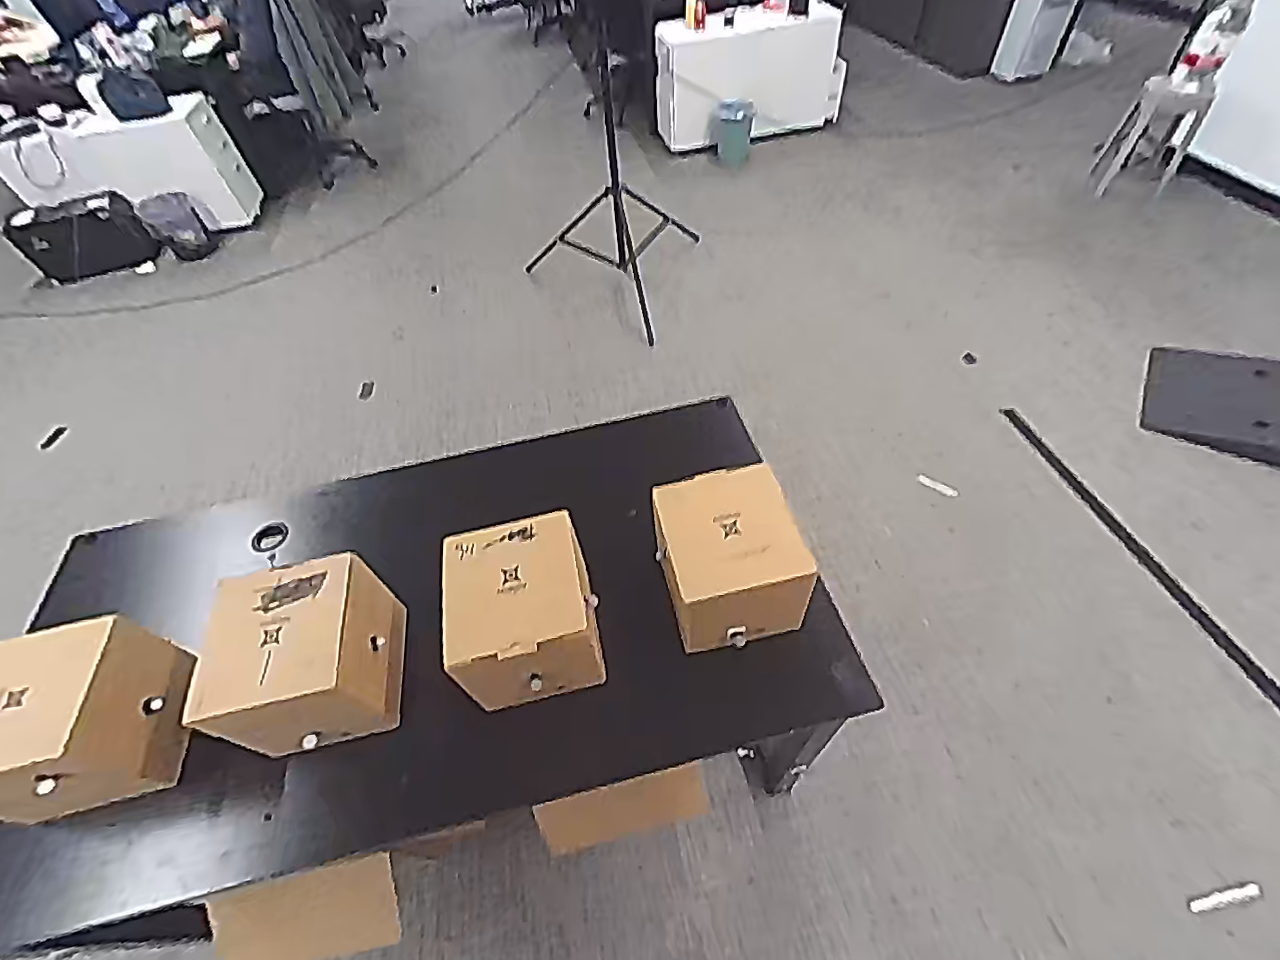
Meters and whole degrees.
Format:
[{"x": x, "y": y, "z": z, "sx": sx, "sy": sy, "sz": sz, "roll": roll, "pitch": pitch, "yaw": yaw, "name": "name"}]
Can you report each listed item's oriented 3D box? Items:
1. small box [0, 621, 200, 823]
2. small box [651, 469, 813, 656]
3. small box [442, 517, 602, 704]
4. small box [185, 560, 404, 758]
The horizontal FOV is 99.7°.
[{"x": -0.697, "y": 0.302, "z": 0.668, "sx": 0.179, "sy": 0.176, "sz": 0.168, "roll": -13, "pitch": 51, "yaw": -6, "name": "small box"}, {"x": 0.116, "y": 0.116, "z": 0.747, "sx": 0.168, "sy": 0.176, "sz": 0.179, "roll": -13, "pitch": 52, "yaw": -3, "name": "small box"}, {"x": -0.152, "y": 0.181, "z": 0.719, "sx": 0.168, "sy": 0.176, "sz": 0.179, "roll": -13, "pitch": 52, "yaw": -5, "name": "small box"}, {"x": -0.422, "y": 0.234, "z": 0.701, "sx": 0.168, "sy": 0.176, "sz": 0.179, "roll": -12, "pitch": 52, "yaw": -4, "name": "small box"}]
